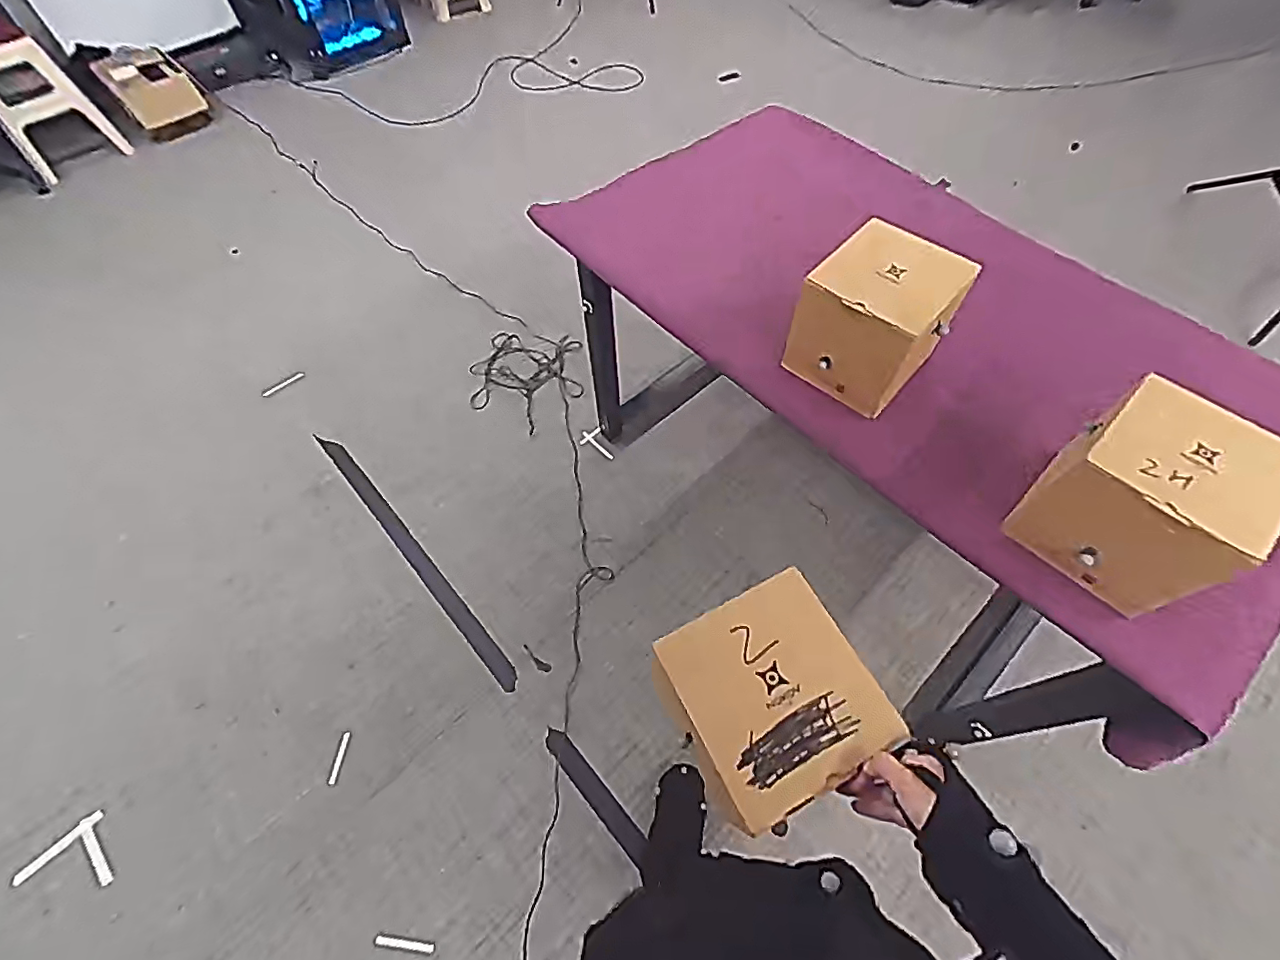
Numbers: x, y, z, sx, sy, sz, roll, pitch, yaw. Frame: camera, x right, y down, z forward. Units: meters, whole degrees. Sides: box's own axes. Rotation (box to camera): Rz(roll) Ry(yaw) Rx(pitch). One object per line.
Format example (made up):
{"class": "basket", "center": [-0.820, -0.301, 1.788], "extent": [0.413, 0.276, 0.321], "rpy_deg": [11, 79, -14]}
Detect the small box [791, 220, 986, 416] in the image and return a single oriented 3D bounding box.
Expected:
{"class": "small box", "center": [0.342, -0.229, 0.779], "extent": [0.168, 0.176, 0.179], "rpy_deg": [38, 68, 21]}

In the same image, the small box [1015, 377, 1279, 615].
{"class": "small box", "center": [0.586, 0.023, 0.624], "extent": [0.179, 0.176, 0.168], "rpy_deg": [-39, 65, -20]}
